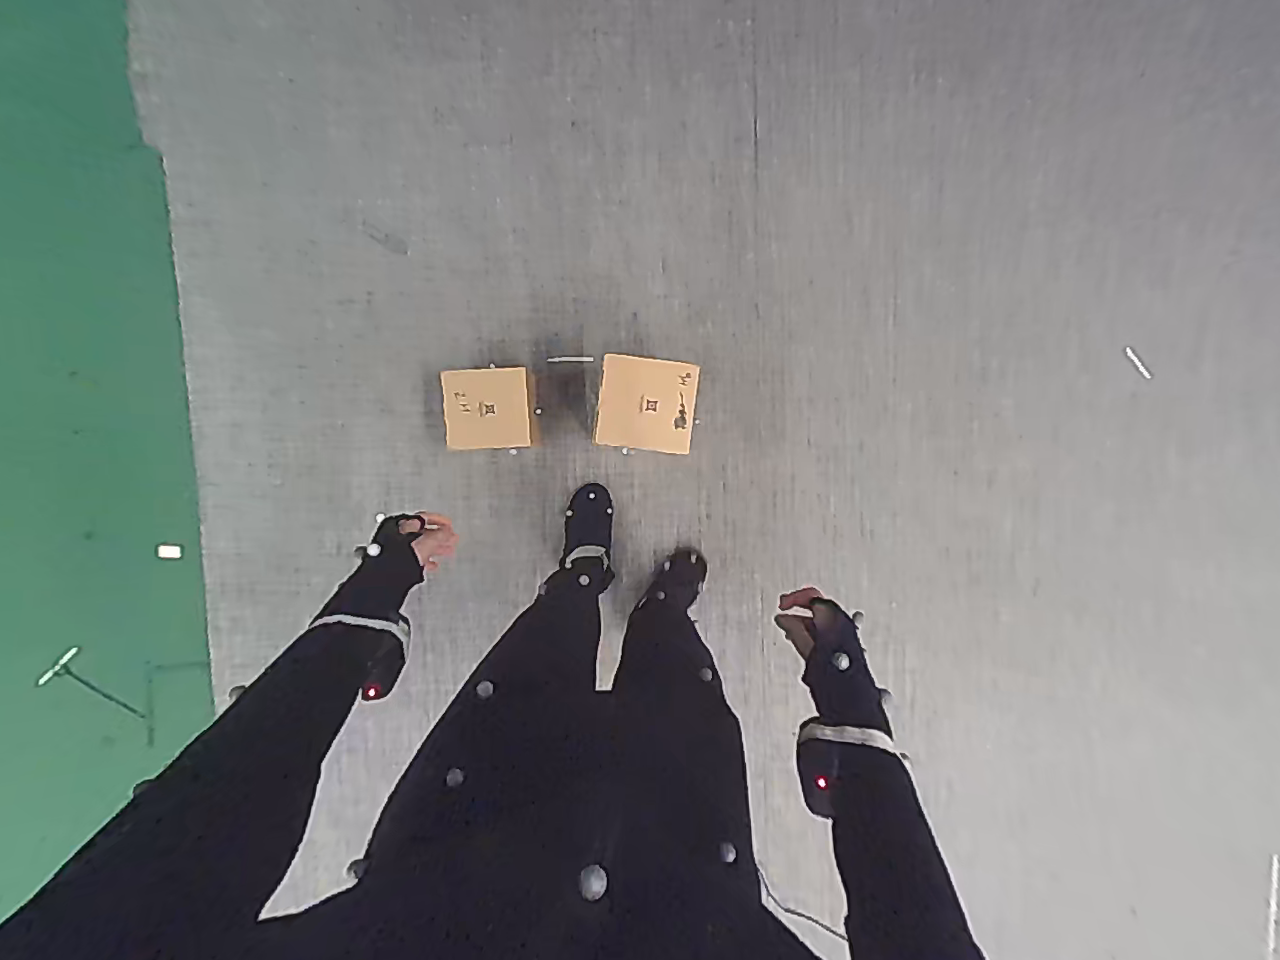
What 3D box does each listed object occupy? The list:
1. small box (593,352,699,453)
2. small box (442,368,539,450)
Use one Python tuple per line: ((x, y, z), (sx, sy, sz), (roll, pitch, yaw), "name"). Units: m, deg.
((0.008, -0.144, 1.055), (0.179, 0.176, 0.168), (7, 94, -3), "small box")
((-0.322, -0.156, 1.201), (0.179, 0.176, 0.168), (-3, 95, -2), "small box")
